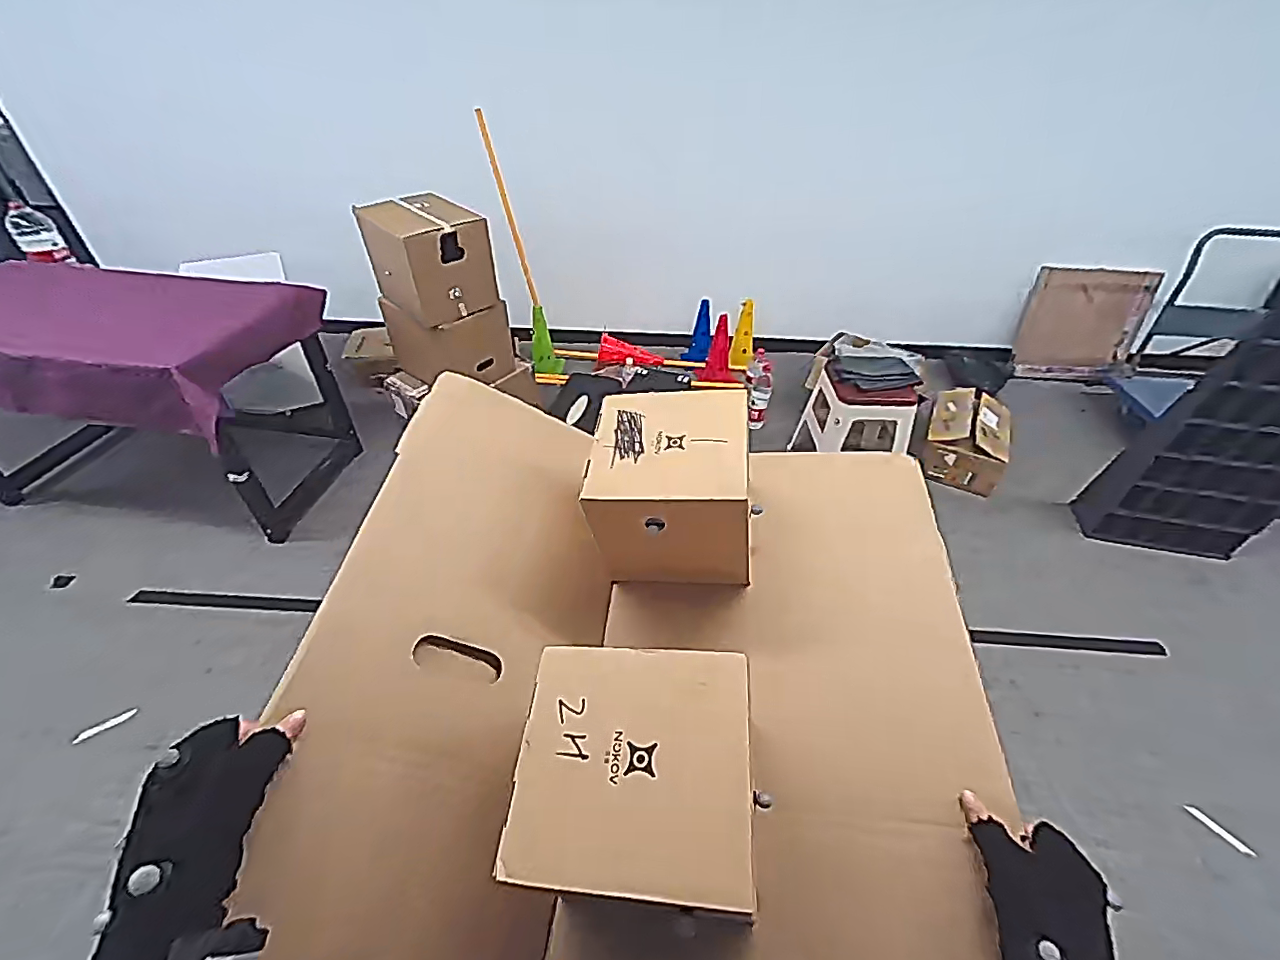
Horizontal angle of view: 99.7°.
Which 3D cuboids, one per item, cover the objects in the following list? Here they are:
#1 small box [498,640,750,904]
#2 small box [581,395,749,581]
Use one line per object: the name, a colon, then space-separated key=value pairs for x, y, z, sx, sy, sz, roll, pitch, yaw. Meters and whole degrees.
small box: x=0.007 y=0.256 z=0.473 sx=0.179 sy=0.176 sz=0.168 roll=-1 pitch=50 yaw=13
small box: x=0.044 y=0.013 z=0.672 sx=0.179 sy=0.176 sz=0.168 roll=0 pitch=50 yaw=12
